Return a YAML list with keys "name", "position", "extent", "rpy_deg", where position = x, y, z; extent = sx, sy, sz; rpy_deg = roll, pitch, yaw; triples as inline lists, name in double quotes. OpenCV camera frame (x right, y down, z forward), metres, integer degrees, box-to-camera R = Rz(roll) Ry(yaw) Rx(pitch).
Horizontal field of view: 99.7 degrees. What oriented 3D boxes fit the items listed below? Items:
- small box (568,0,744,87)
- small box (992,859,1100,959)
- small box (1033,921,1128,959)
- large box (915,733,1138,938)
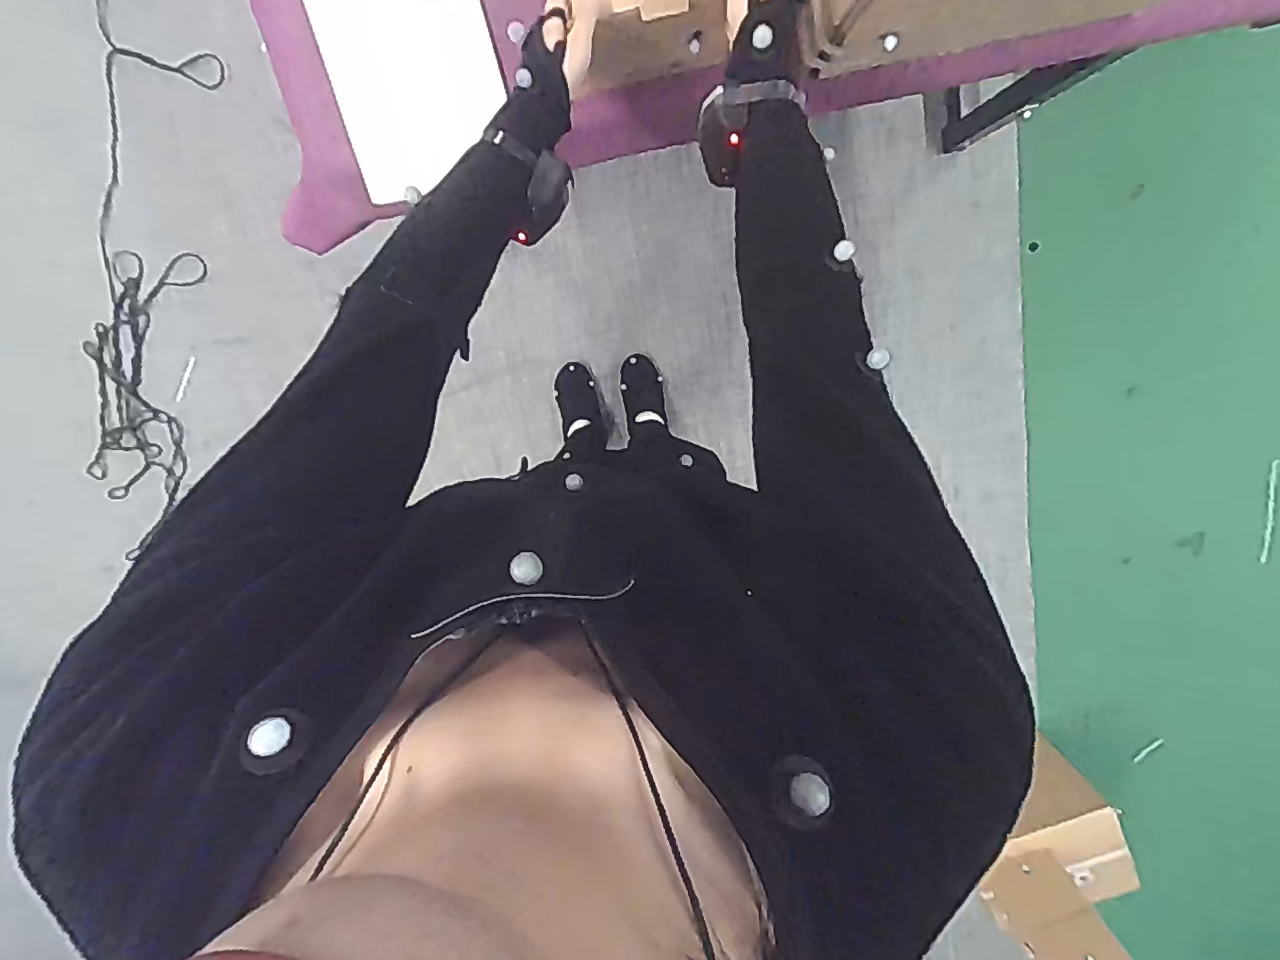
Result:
- name: "small box"
  position: [0.006, -0.528, 0.541]
  extent: [0.168, 0.176, 0.179]
  rpy_deg: [-10, 107, 3]
- name: "small box"
  position: [1.046, 1.130, 1.393]
  extent: [0.179, 0.176, 0.168]
  rpy_deg: [-21, 103, 6]
- name: "small box"
  position: [1.043, 1.169, 1.234]
  extent: [0.179, 0.176, 0.168]
  rpy_deg: [-25, 102, 6]
- name: "large box"
  position: [1.133, 1.048, 1.625]
  extent: [0.408, 0.320, 0.320]
  rpy_deg: [-26, 104, 6]
